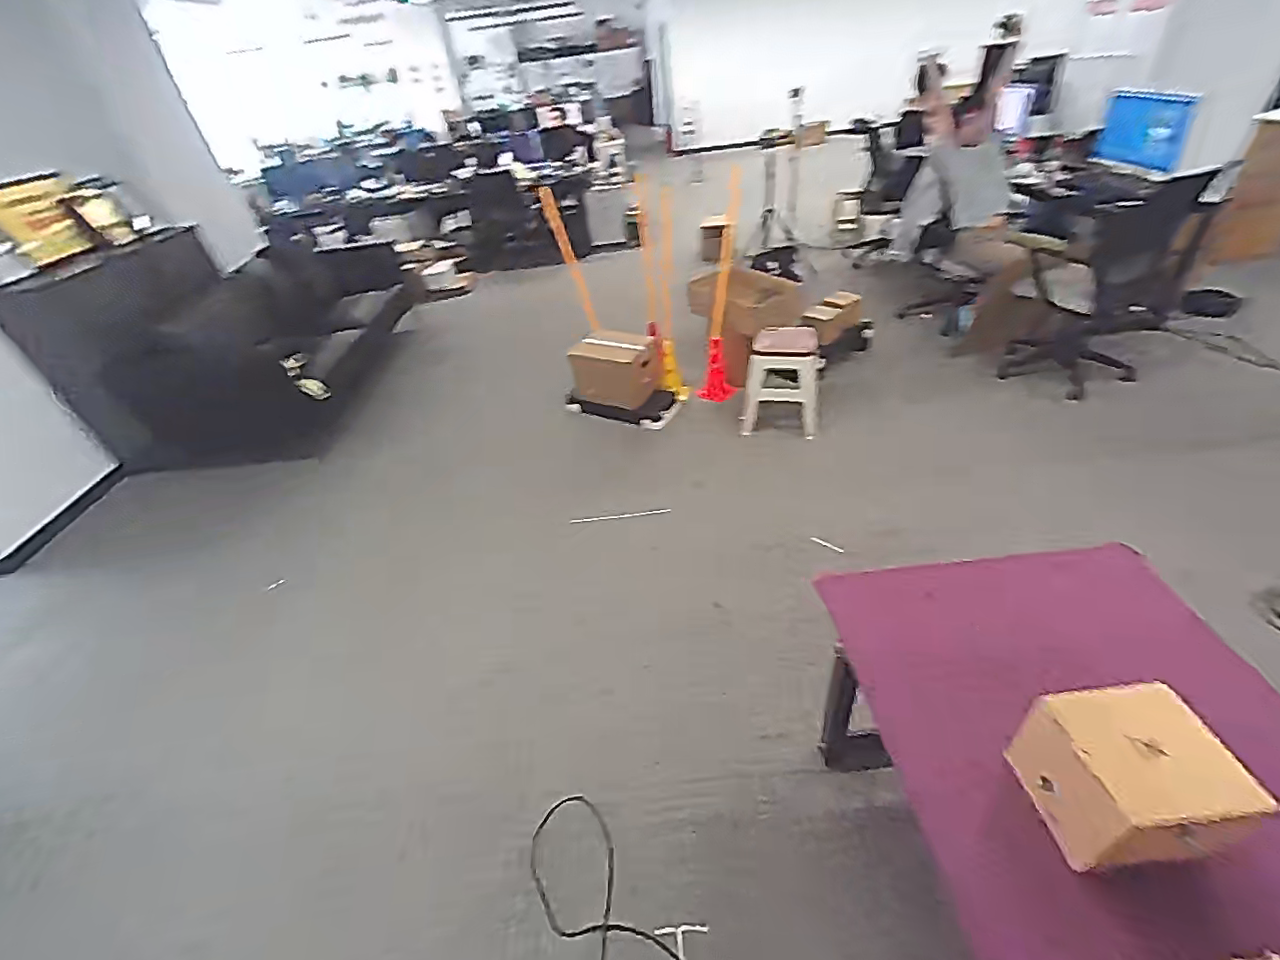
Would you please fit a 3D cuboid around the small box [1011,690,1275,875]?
[{"bbox_3d":[0.661,0.415,0.743,0.179,0.176,0.168,-8,38,1],"label":"small box"}]
